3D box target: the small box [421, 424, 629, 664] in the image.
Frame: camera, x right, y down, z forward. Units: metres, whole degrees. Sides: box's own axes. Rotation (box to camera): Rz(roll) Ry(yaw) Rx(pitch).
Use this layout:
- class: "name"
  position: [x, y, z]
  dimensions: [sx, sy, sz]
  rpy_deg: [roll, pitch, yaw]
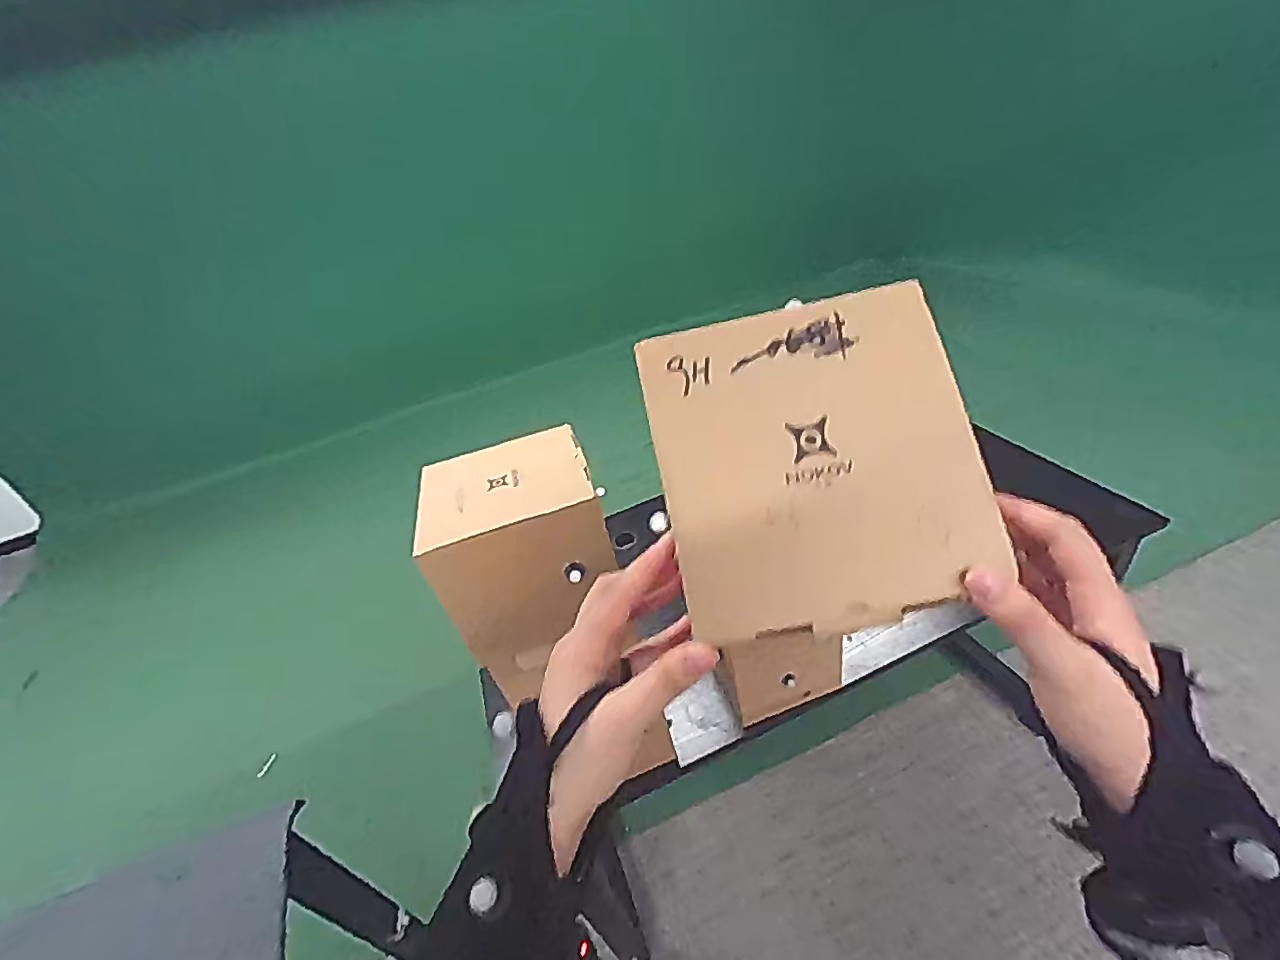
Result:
- class: "small box"
  position: [-0.119, 0.067, 0.599]
  dimensions: [0.179, 0.176, 0.168]
  rpy_deg: [-19, 34, -7]

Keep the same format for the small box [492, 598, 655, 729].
- class: "small box"
  position: [-0.090, 0.191, 0.700]
  dimensions: [0.168, 0.176, 0.179]
  rpy_deg: [-19, 35, -7]

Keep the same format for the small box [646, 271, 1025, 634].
- class: "small box"
  position: [0.106, -0.004, 0.368]
  dimensions: [0.168, 0.176, 0.179]
  rpy_deg: [-12, 77, 4]

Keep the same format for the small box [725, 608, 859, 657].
- class: "small box"
  position: [0.182, 0.107, 0.722]
  dimensions: [0.179, 0.176, 0.168]
  rpy_deg: [-14, 36, 0]

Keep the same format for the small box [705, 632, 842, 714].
- class: "small box"
  position: [0.196, 0.230, 0.830]
  dimensions: [0.168, 0.176, 0.179]
  rpy_deg: [-19, 36, -7]
